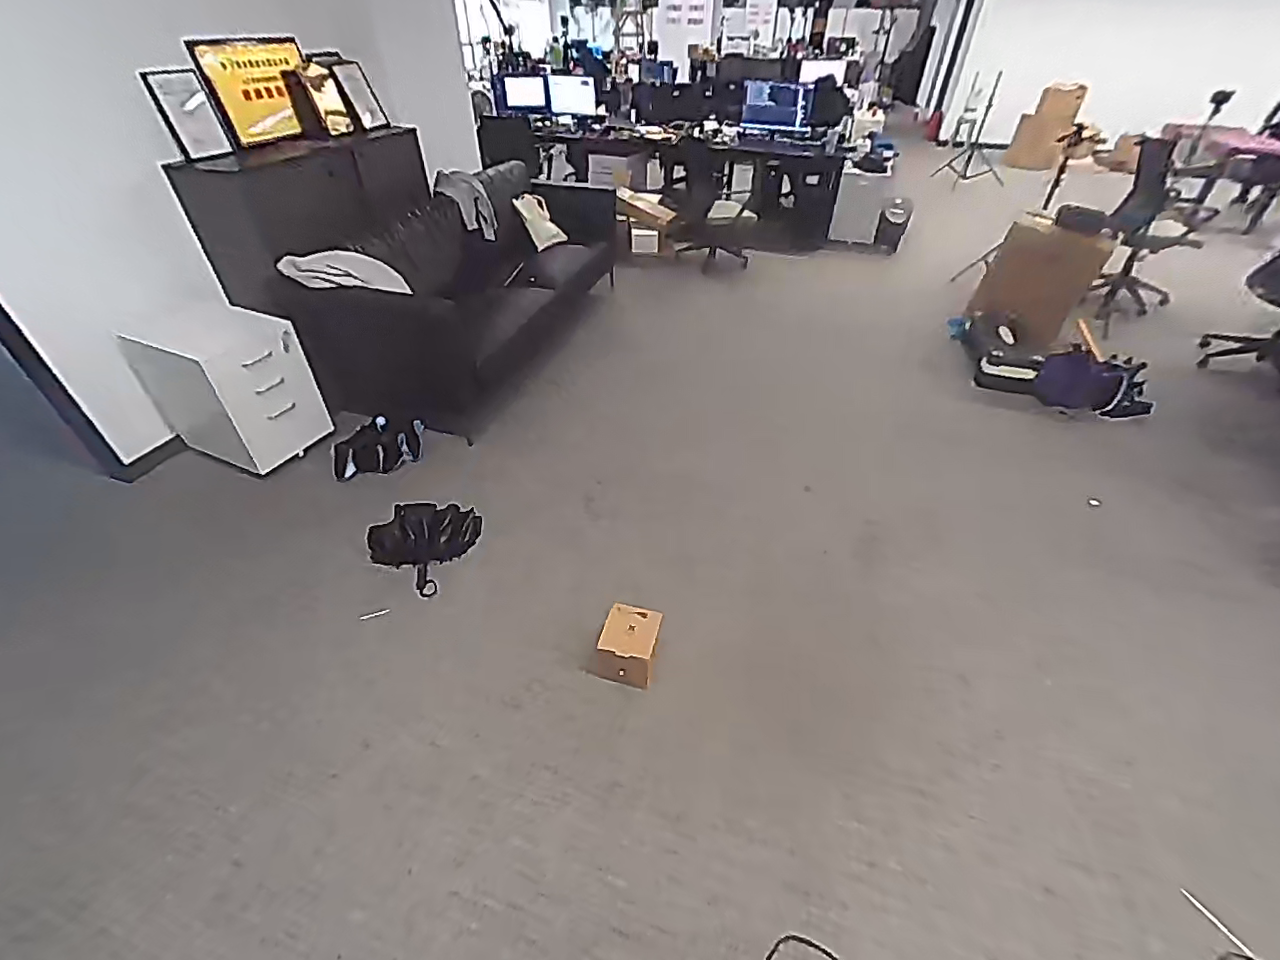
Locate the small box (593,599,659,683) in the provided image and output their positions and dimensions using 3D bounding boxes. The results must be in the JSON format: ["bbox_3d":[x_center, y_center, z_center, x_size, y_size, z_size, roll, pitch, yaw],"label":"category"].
[{"bbox_3d":[-0.038,0.509,1.697,0.168,0.176,0.179,11,43,11],"label":"small box"}]
